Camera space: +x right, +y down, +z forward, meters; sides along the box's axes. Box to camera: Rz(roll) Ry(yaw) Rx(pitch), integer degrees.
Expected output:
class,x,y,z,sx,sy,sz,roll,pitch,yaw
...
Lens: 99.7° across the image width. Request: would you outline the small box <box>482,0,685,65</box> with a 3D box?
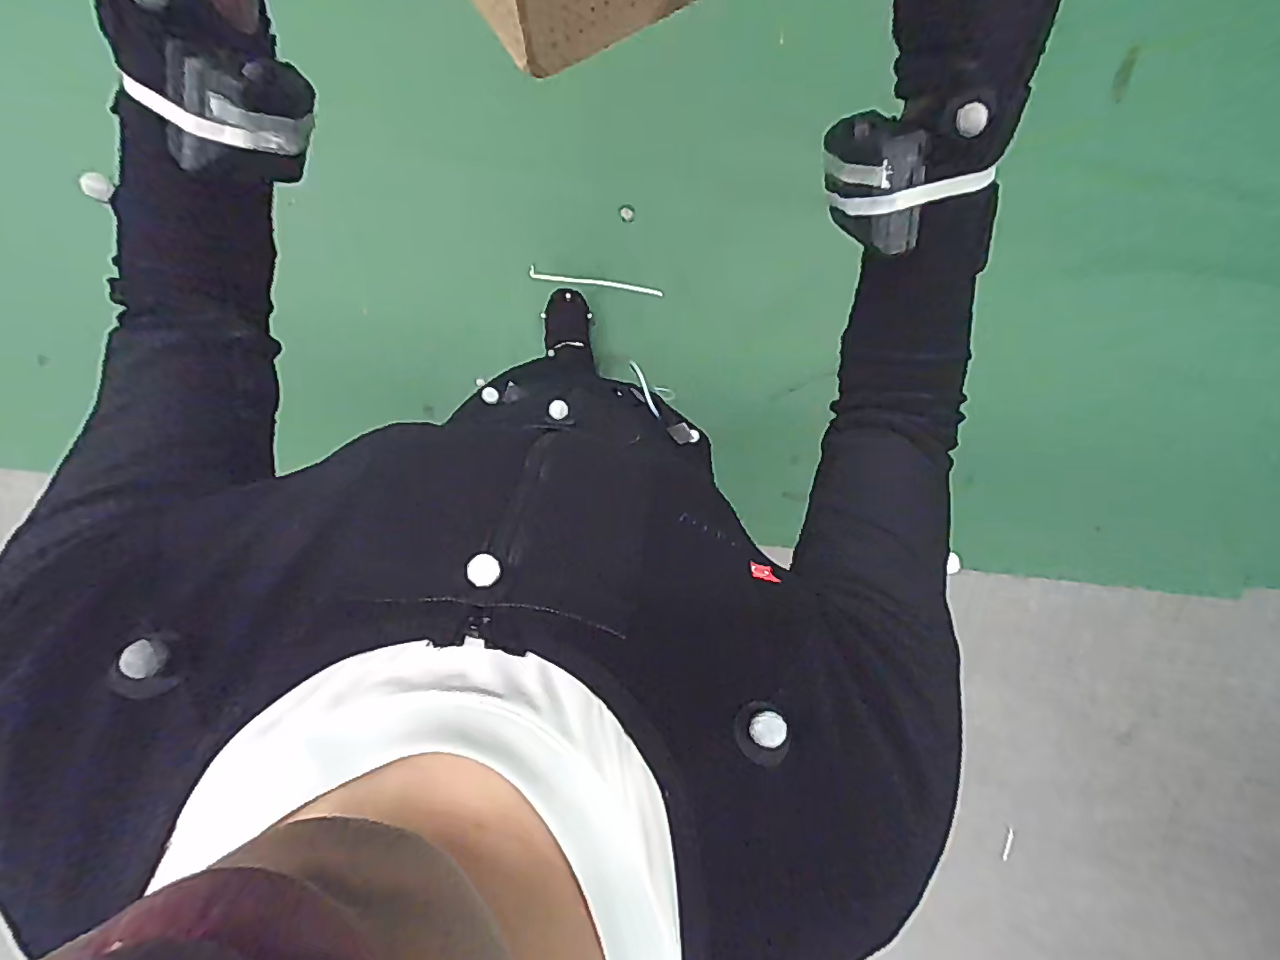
class,x,y,z,sx,sy,sz,roll,pitch,yaw
small box,-0.010,-0.301,0.178,0.179,0.176,0.168,-32,85,-6
